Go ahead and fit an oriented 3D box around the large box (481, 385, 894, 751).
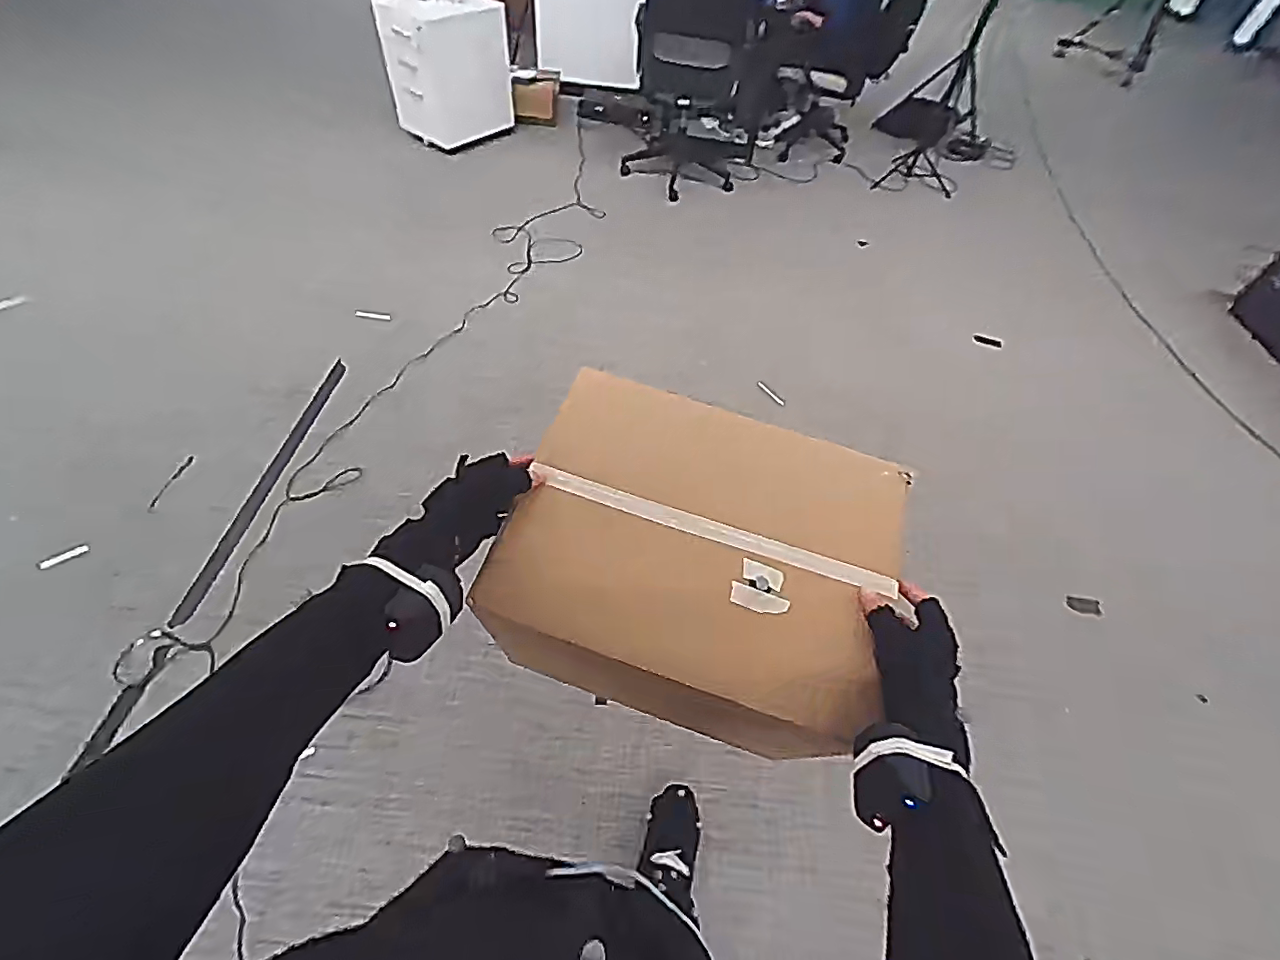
[{"bbox_3d":[0.058,0.133,0.720,0.408,0.320,0.320,18,63,4],"label":"large box"}]
